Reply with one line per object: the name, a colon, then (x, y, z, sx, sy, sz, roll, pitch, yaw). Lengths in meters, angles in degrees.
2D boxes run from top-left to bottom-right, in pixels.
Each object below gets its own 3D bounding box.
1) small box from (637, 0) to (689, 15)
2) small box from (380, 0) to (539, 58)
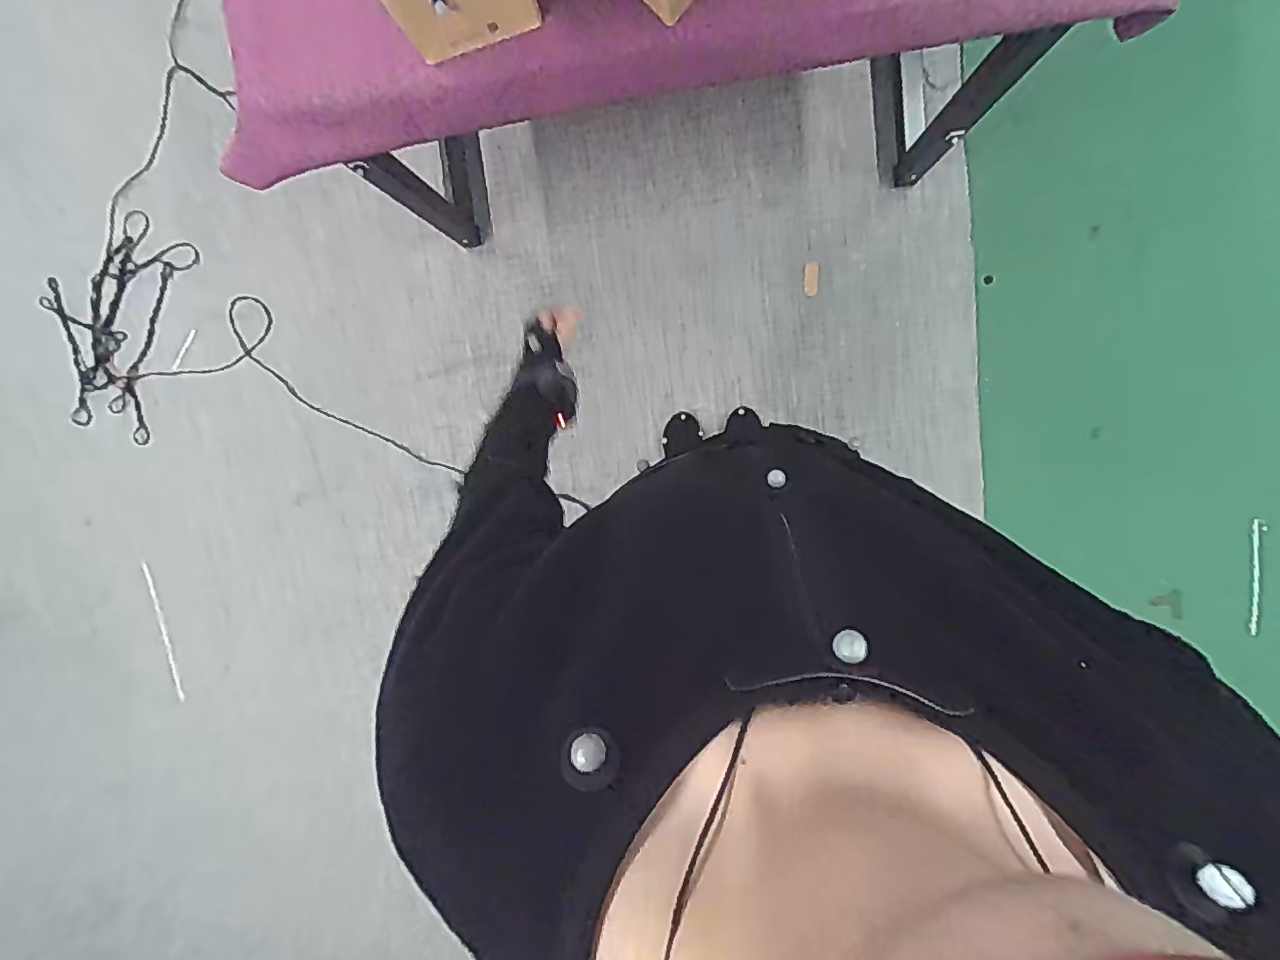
small box: (0.027, -0.688, 0.609, 0.168, 0.176, 0.179, -44, 91, 8)
small box: (-0.233, -0.650, 0.641, 0.168, 0.176, 0.179, -14, 94, 7)
